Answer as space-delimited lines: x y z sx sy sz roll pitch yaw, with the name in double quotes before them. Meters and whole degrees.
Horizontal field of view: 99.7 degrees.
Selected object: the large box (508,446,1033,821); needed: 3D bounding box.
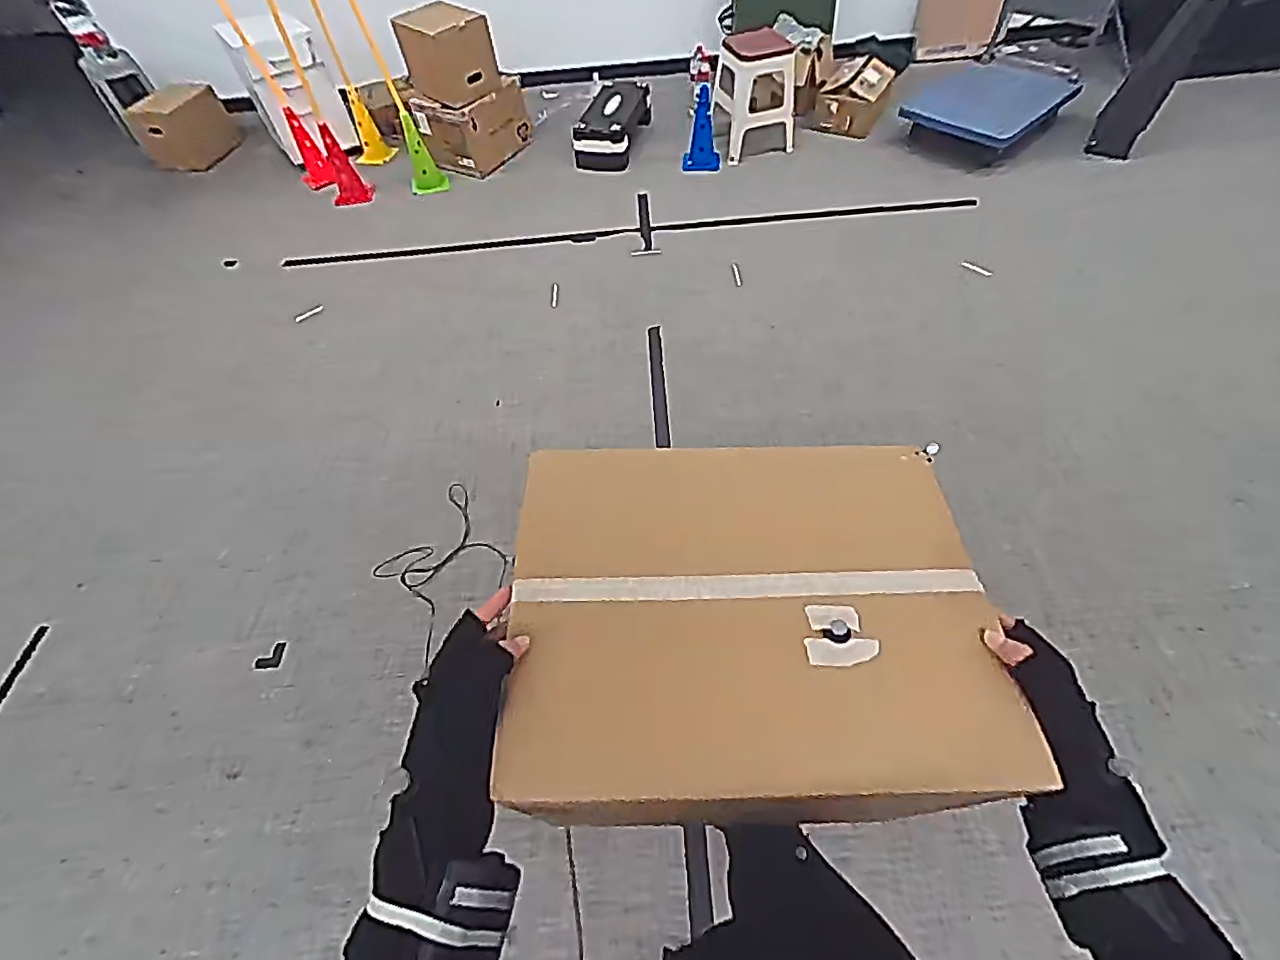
"large box" 0.093 0.180 0.607 0.408 0.320 0.320 -1 54 -1
